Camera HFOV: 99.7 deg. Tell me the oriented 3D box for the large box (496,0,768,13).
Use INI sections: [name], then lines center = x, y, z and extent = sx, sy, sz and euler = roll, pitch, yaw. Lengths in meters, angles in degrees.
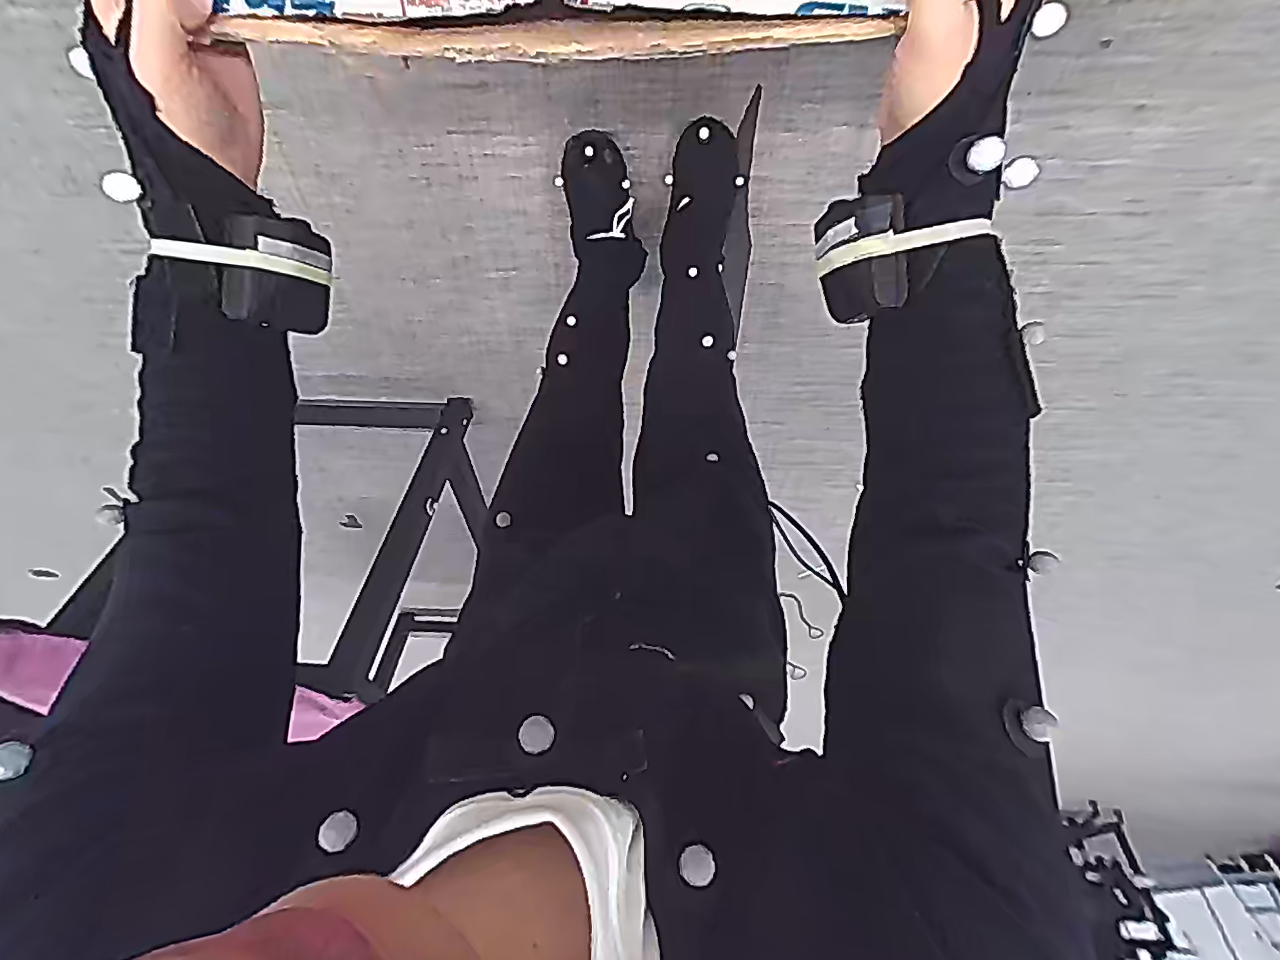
[large box]
center = 0.005, -0.712, 0.482
extent = 0.320, 0.320, 0.408
euler = 1, 139, 4
